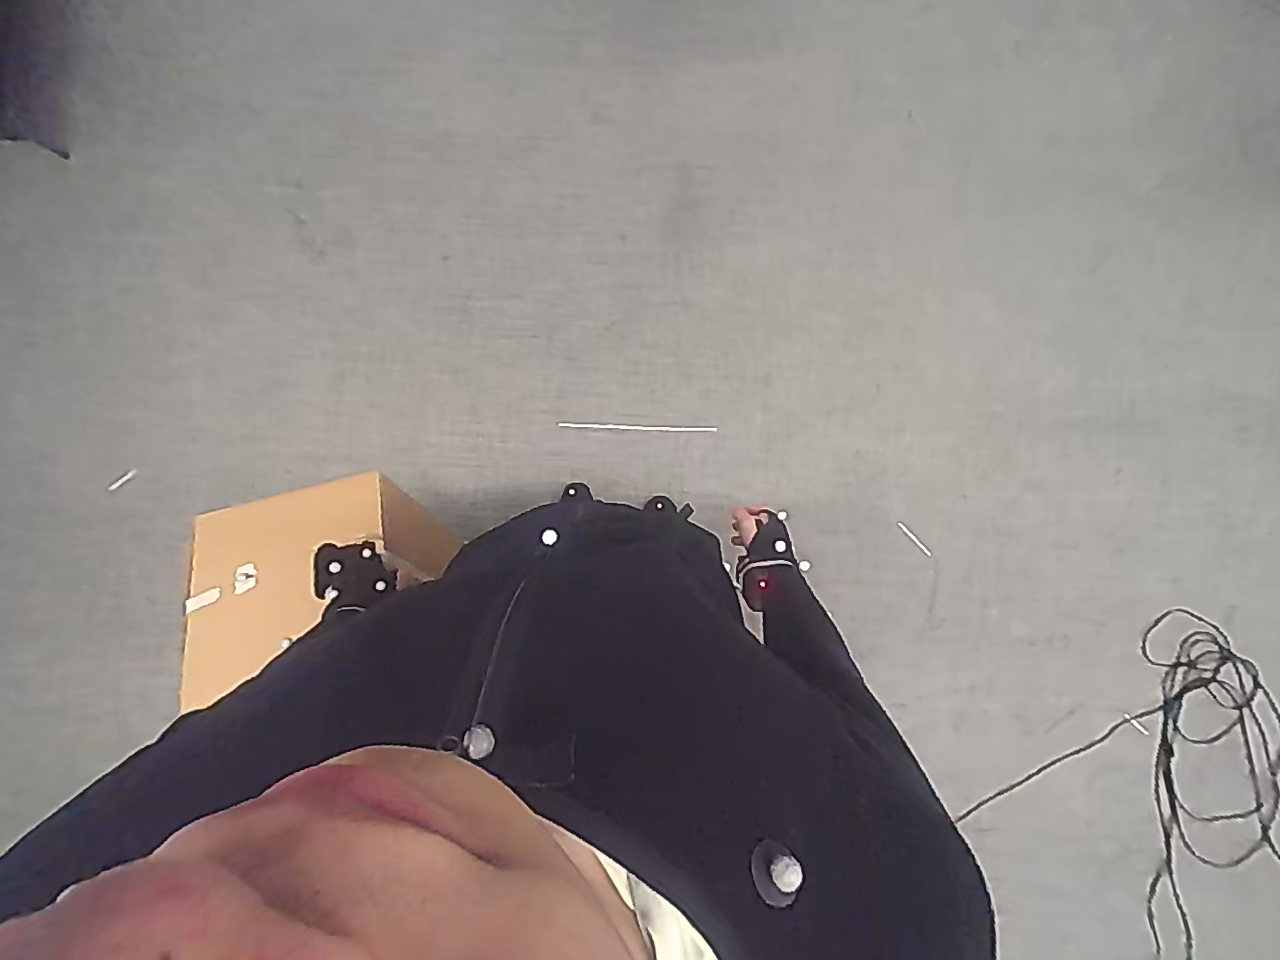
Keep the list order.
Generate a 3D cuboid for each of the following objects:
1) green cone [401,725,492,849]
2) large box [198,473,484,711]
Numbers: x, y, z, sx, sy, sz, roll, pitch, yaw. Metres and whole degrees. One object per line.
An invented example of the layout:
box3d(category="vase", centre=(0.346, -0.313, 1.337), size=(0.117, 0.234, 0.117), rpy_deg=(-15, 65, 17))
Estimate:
box3d(category="green cone", centre=(-0.554, 0.851, 1.464), size=(0.200, 0.368, 0.202), rpy_deg=(8, 91, 0))
box3d(category="large box", centre=(-0.529, 0.232, 1.025), size=(0.320, 0.408, 0.320), rpy_deg=(-15, 67, -3))
